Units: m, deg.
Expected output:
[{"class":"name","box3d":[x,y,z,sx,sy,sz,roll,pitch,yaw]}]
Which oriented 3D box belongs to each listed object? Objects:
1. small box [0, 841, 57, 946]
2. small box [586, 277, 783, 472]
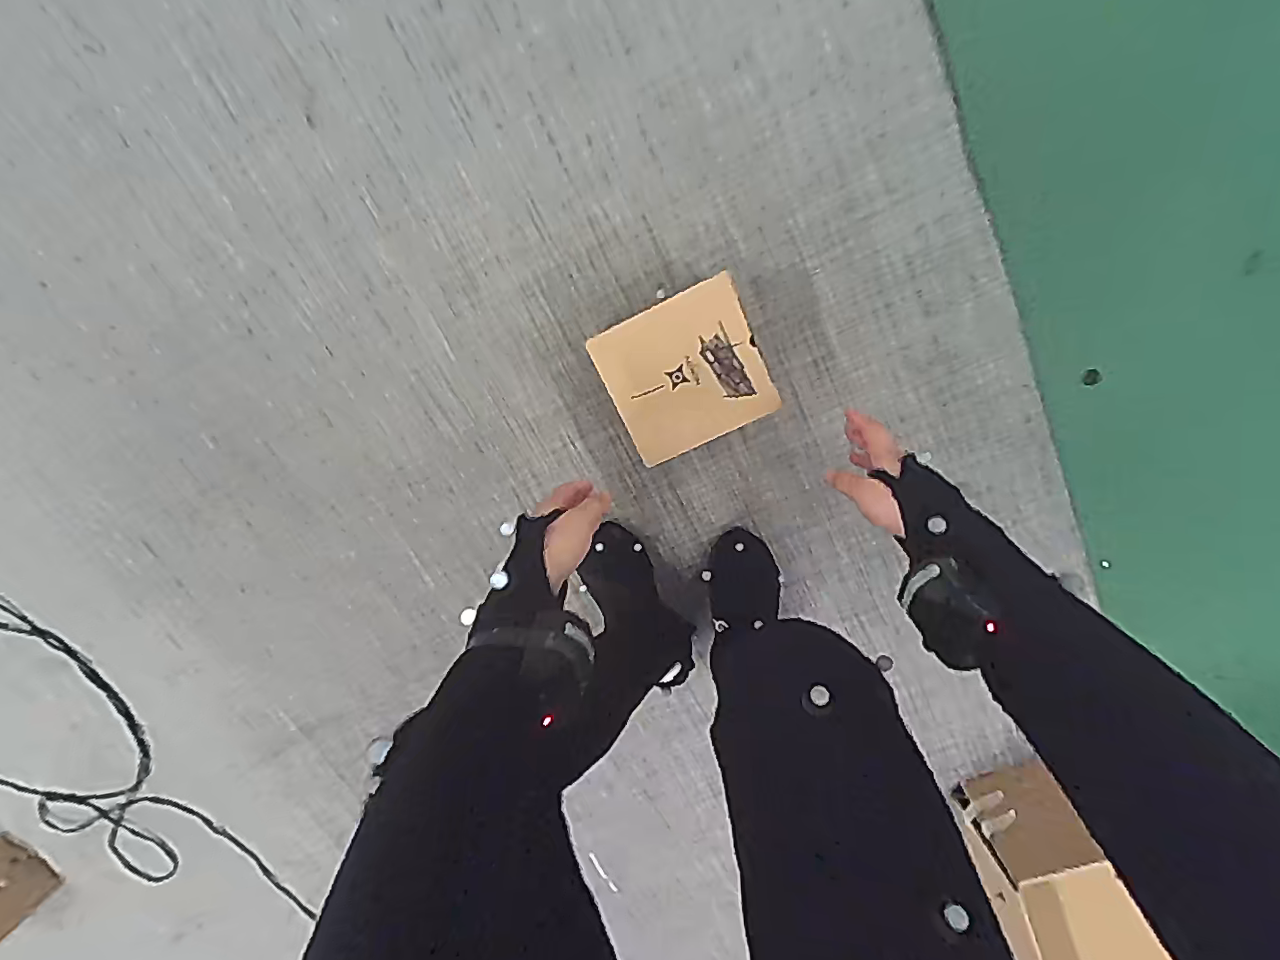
[{"class":"small box","box3d":[-1.324,0.858,1.053,0.179,0.176,0.168,-34,103,11]},{"class":"small box","box3d":[0.052,-0.137,0.673,0.179,0.176,0.168,-24,105,10]}]
